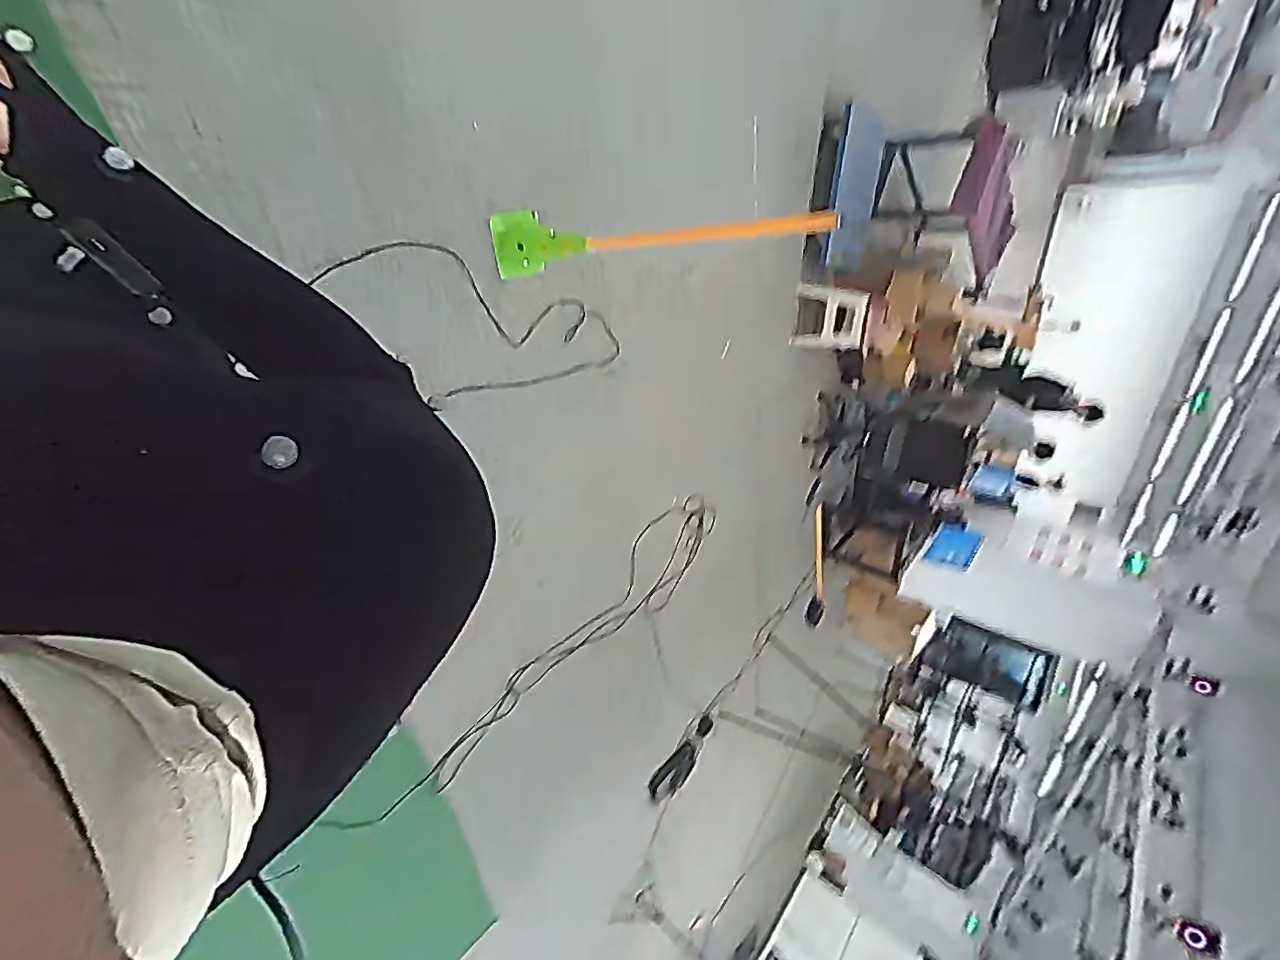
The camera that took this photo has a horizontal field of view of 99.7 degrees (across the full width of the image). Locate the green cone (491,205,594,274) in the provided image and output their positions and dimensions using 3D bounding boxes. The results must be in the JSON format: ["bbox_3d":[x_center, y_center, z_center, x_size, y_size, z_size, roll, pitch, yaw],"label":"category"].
[{"bbox_3d":[-0.290,-0.773,1.753,0.200,0.368,0.202,-31,131,-39],"label":"green cone"}]
